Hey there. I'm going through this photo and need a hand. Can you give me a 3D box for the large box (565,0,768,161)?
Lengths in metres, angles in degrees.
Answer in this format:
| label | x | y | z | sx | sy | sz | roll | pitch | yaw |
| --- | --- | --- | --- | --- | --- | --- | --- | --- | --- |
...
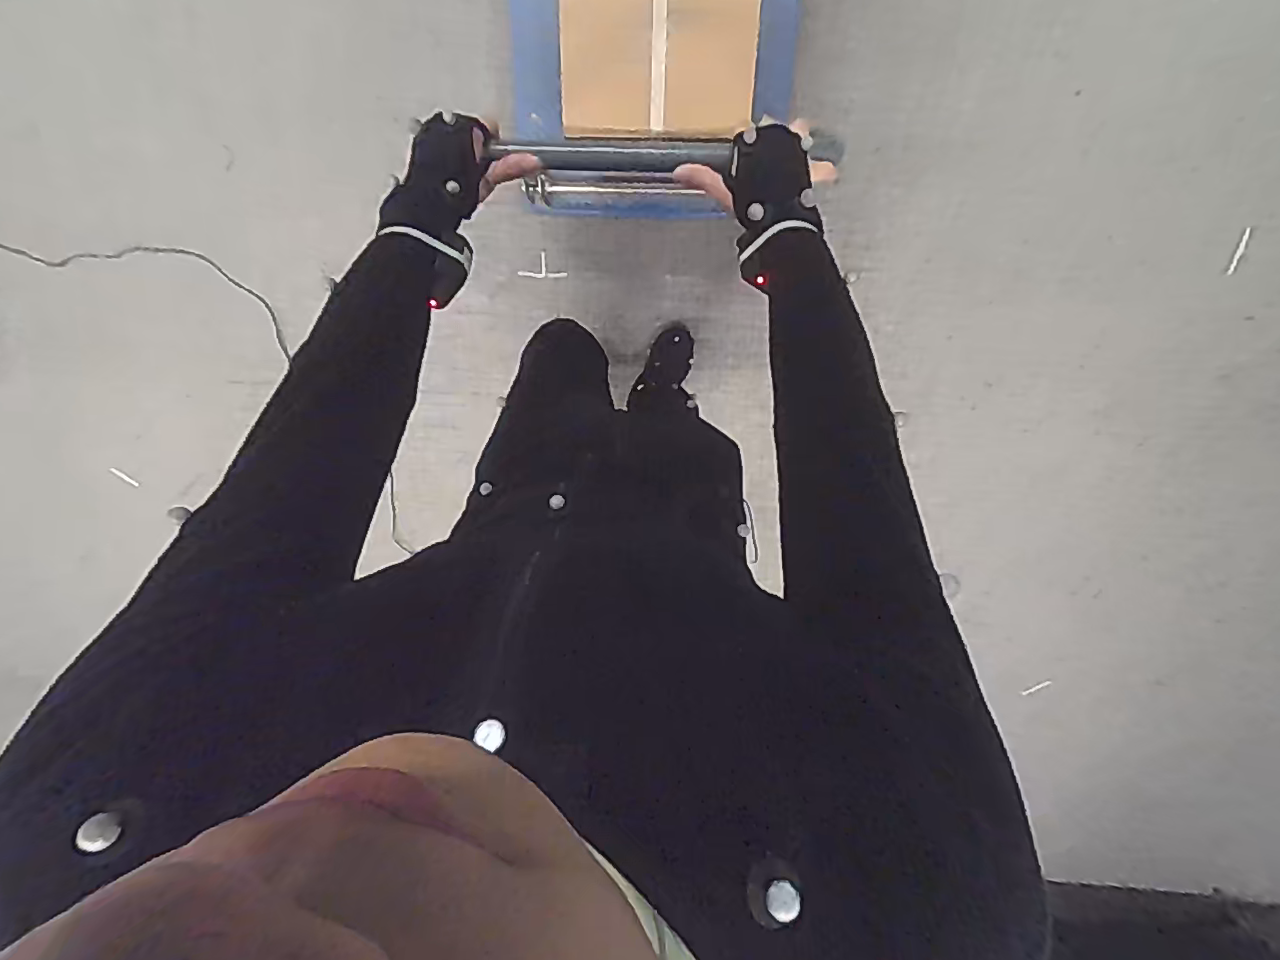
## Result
| label | x | y | z | sx | sy | sz | roll | pitch | yaw |
| --- | --- | --- | --- | --- | --- | --- | --- | --- | --- |
| large box | 0.049 | -0.814 | 0.948 | 0.320 | 0.320 | 0.408 | 2 | 112 | 2 |
